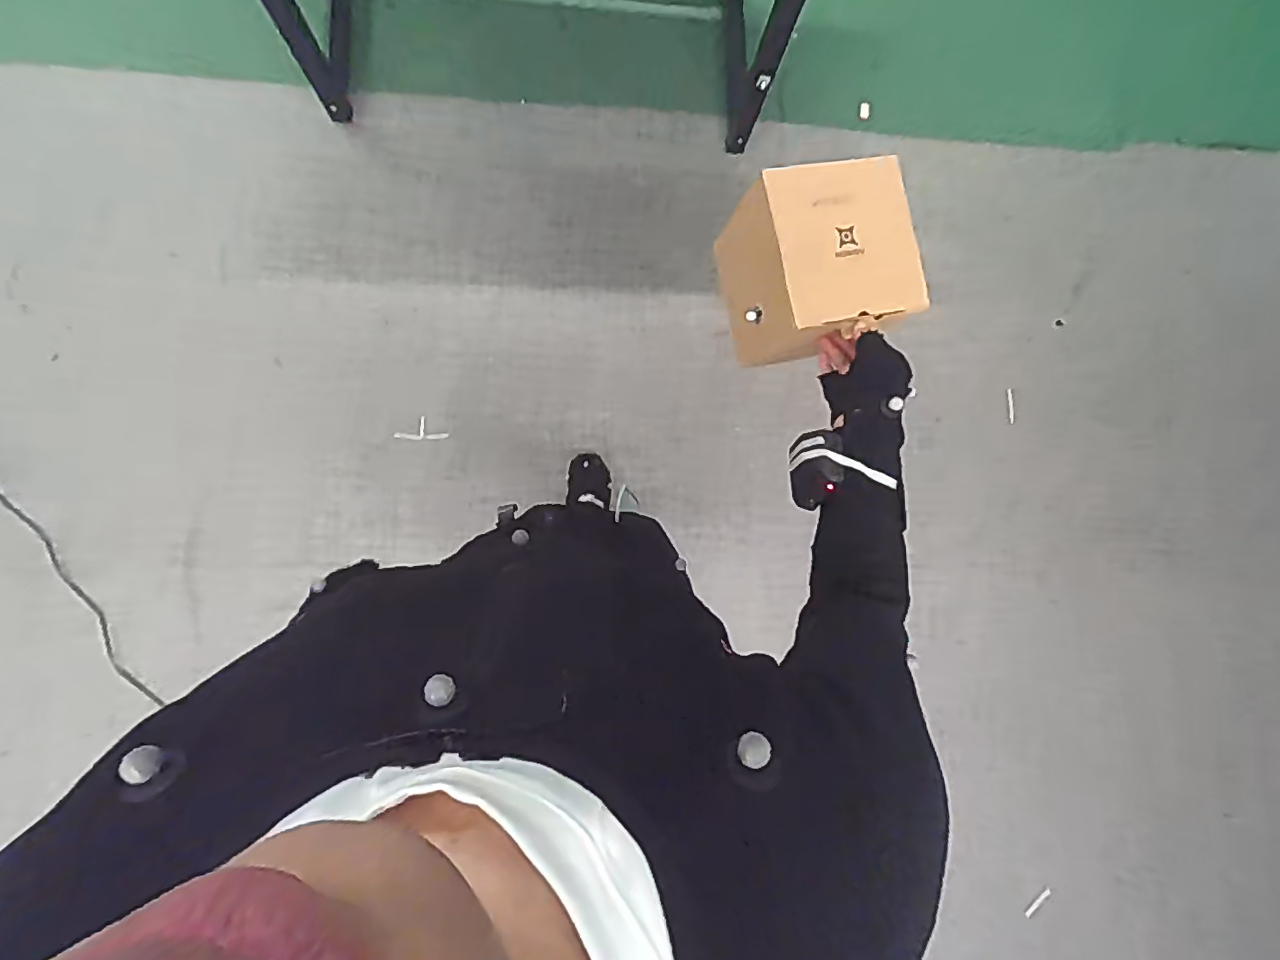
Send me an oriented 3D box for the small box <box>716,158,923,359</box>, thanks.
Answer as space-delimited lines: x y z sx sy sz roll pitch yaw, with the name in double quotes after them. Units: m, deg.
0.208 -0.257 0.667 0.168 0.176 0.179 -11 89 -11 "small box"
